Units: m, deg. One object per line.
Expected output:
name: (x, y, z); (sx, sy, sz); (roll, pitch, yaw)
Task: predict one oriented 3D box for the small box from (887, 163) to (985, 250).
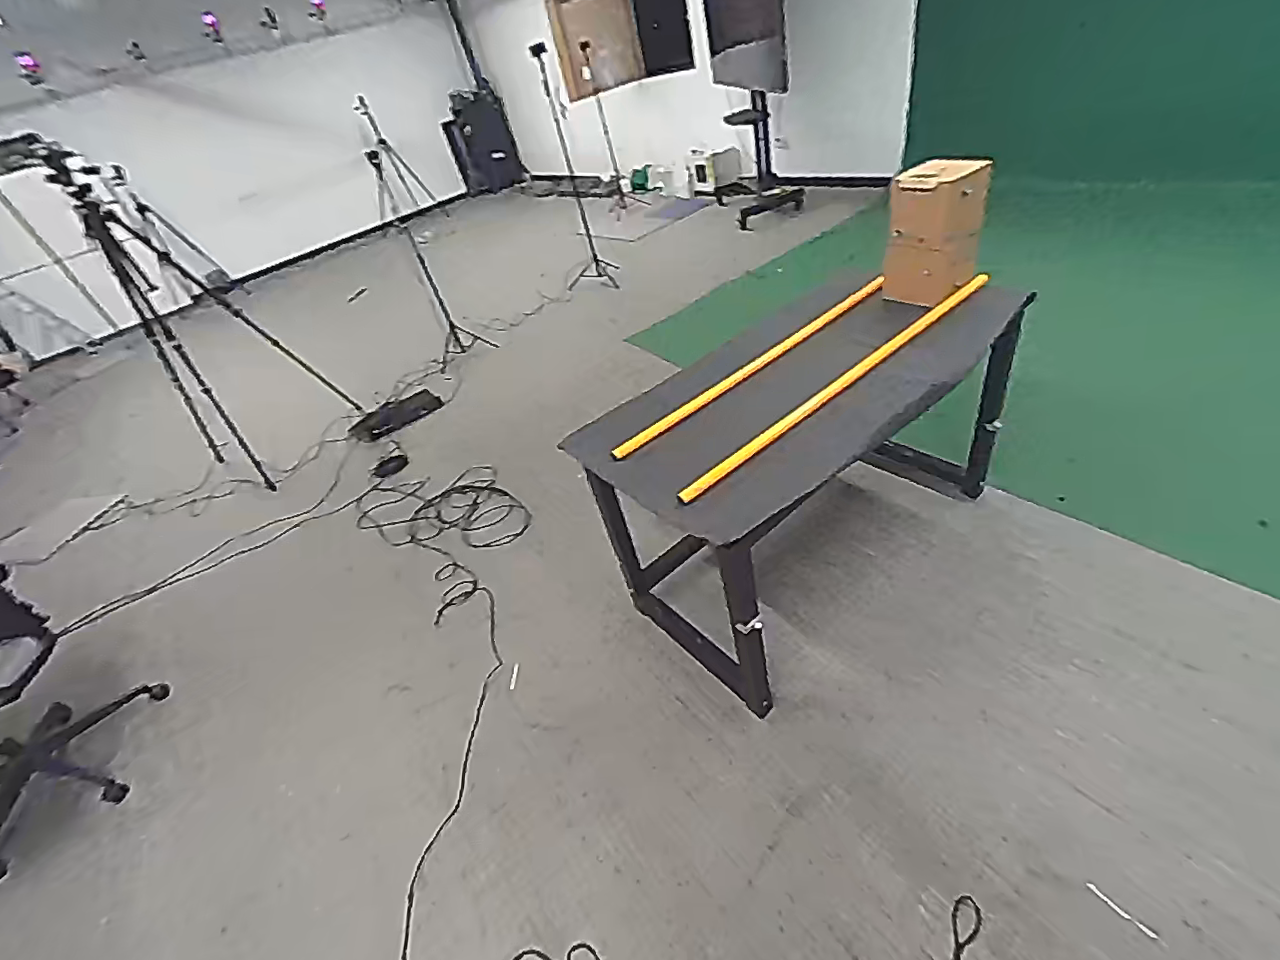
small box: (0.796, -0.744, 1.471); (0.179, 0.176, 0.168); (-31, 42, -18)
